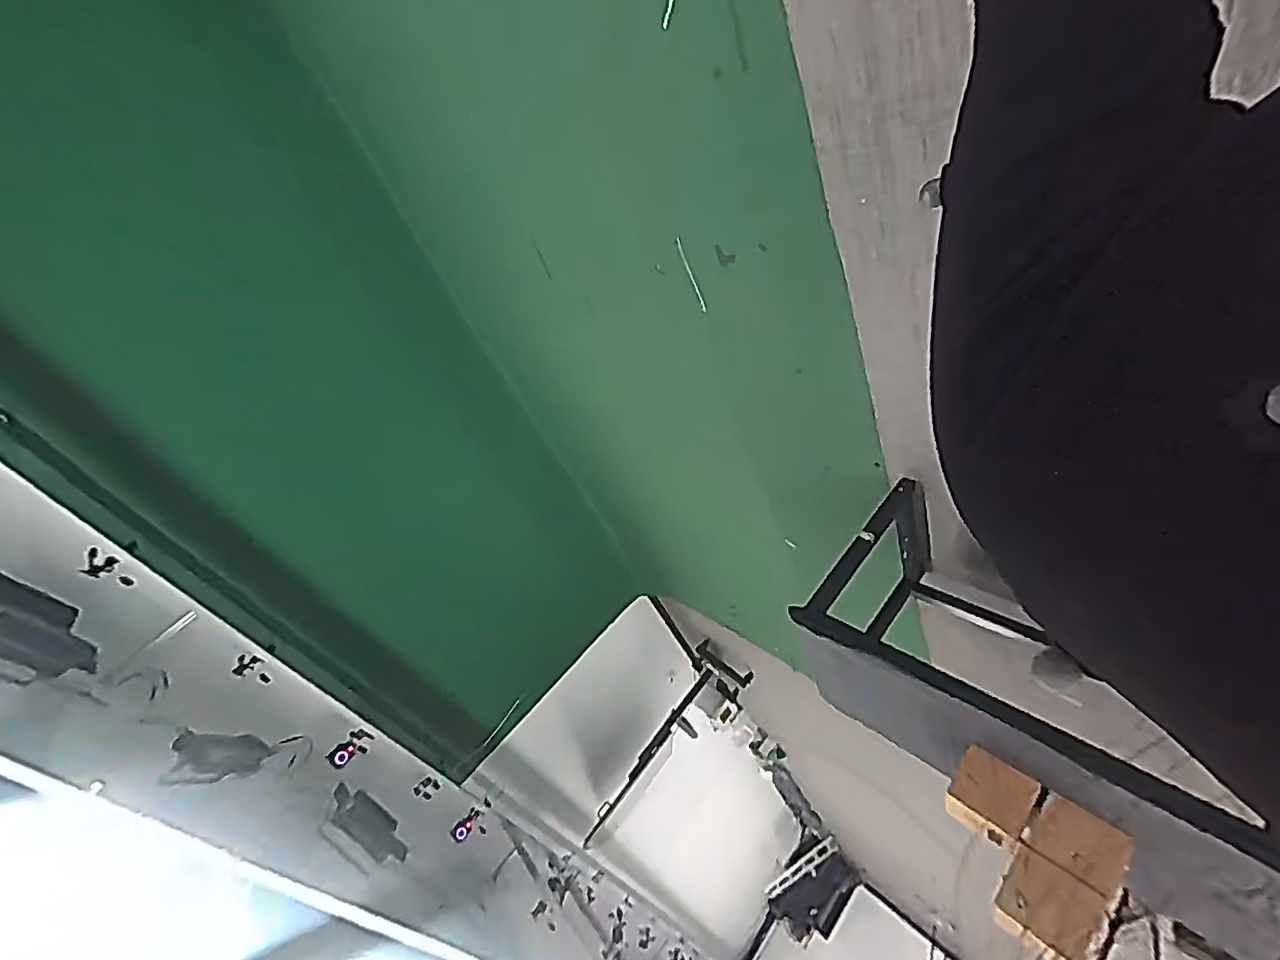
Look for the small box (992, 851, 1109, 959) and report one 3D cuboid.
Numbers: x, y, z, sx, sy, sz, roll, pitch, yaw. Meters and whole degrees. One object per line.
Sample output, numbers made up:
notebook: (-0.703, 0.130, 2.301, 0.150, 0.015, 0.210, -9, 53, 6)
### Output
small box: (0.983, 1.039, 1.304, 0.179, 0.176, 0.168, 22, 148, 46)
